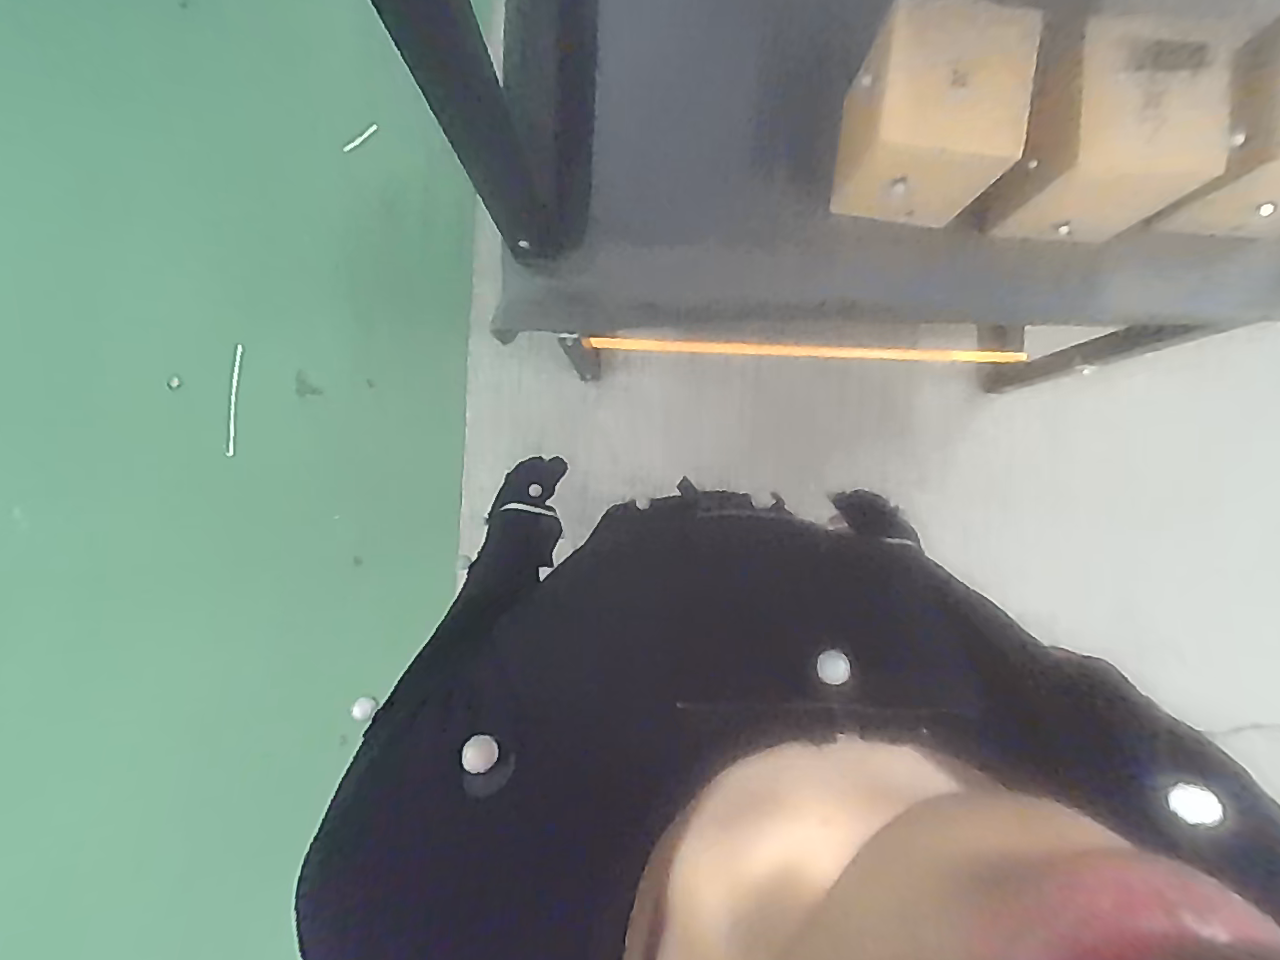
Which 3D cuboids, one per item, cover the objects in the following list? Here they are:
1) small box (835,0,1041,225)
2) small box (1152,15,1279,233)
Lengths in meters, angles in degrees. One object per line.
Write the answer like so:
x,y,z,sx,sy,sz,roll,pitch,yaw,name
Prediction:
0.364,-0.457,0.695,0.168,0.176,0.179,9,88,1,small box
0.805,-0.438,0.683,0.168,0.176,0.179,5,88,1,small box
